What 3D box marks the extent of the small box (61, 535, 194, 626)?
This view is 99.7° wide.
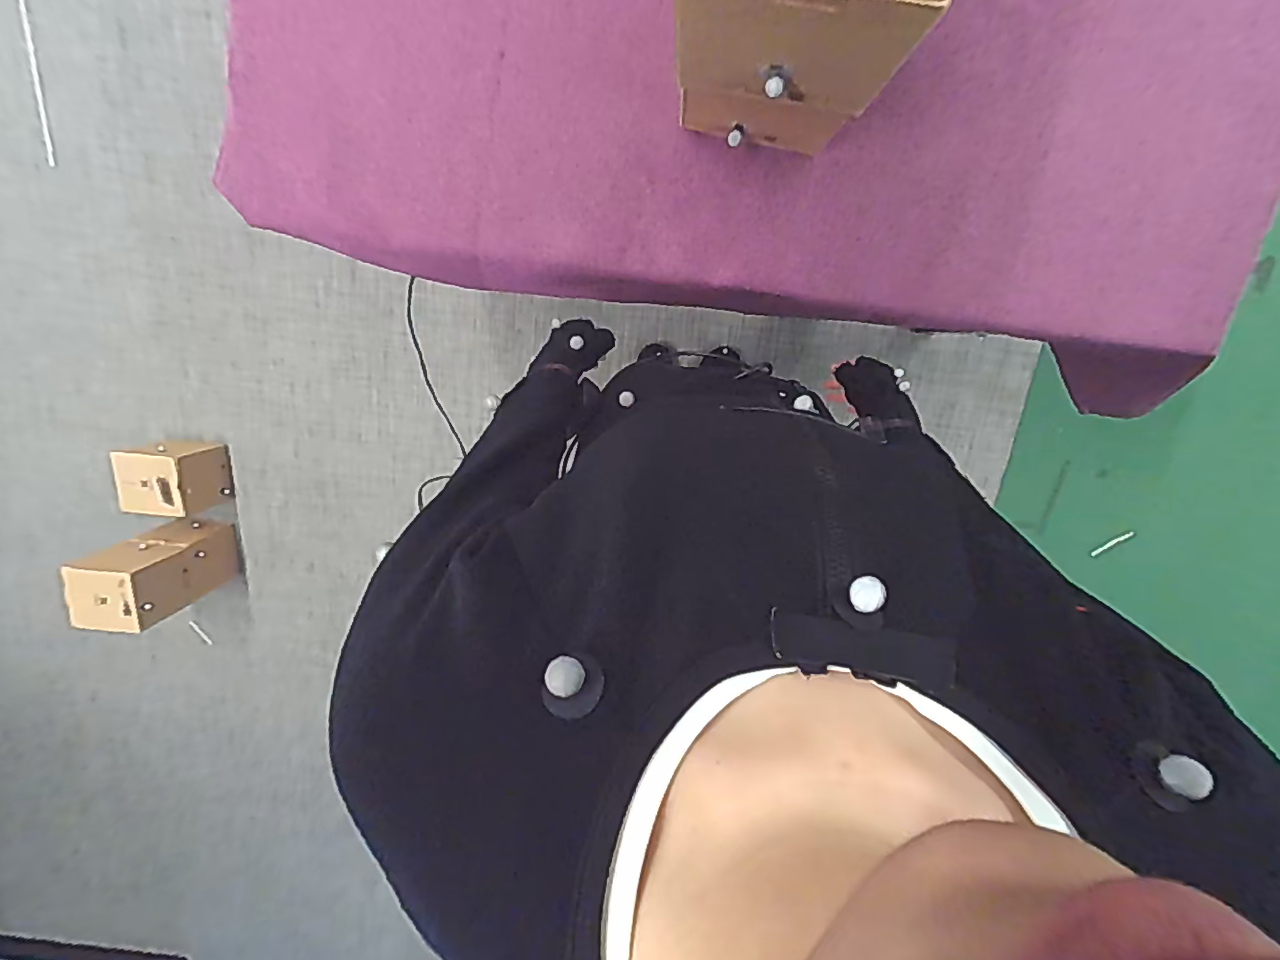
[{"bbox_3d":[-1.303,0.251,1.386,0.179,0.176,0.168,7,106,2],"label":"small box"}]

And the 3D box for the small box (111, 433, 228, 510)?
[{"bbox_3d":[-1.267,-0.028,1.475,0.179,0.176,0.168,6,105,2],"label":"small box"}]

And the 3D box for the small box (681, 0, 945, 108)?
[{"bbox_3d":[0.123,-0.400,0.375,0.168,0.176,0.179,11,106,2],"label":"small box"}]

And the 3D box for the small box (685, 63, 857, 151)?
[{"bbox_3d":[0.139,-0.458,0.528,0.168,0.176,0.179,12,106,1],"label":"small box"}]
